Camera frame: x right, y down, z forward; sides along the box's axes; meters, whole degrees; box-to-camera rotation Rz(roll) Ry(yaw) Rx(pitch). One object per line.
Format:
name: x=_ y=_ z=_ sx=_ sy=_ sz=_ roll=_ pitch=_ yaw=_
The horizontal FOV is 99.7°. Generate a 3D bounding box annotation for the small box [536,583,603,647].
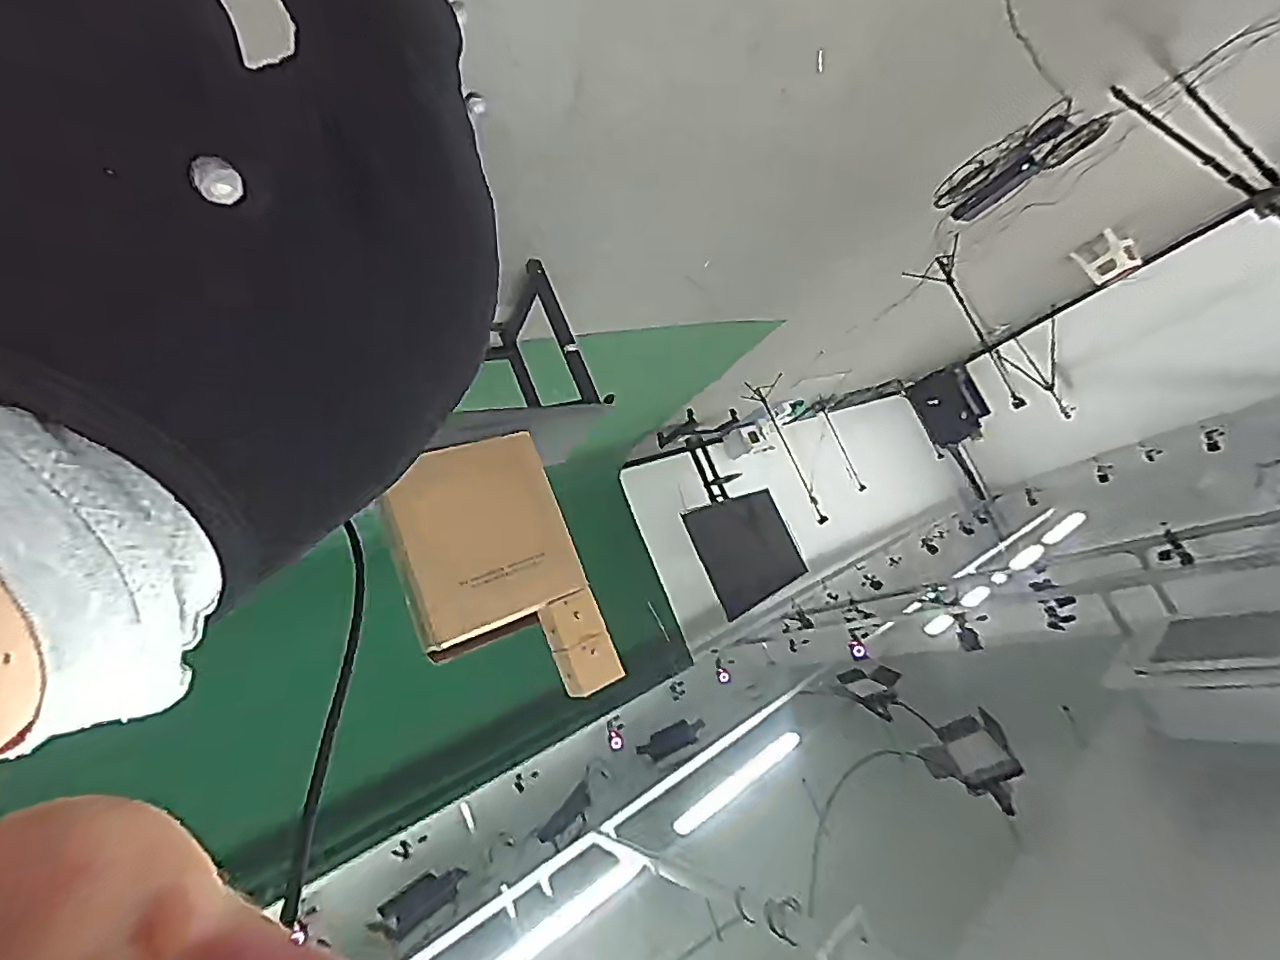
small box: x=-0.261 y=0.487 z=1.962 sx=0.168 sy=0.176 sz=0.179 roll=-19 pitch=170 yaw=-30

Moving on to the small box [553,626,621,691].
small box: x=-0.196 y=0.636 z=1.938 sx=0.168 sy=0.176 sz=0.179 roll=-19 pitch=170 yaw=-31
